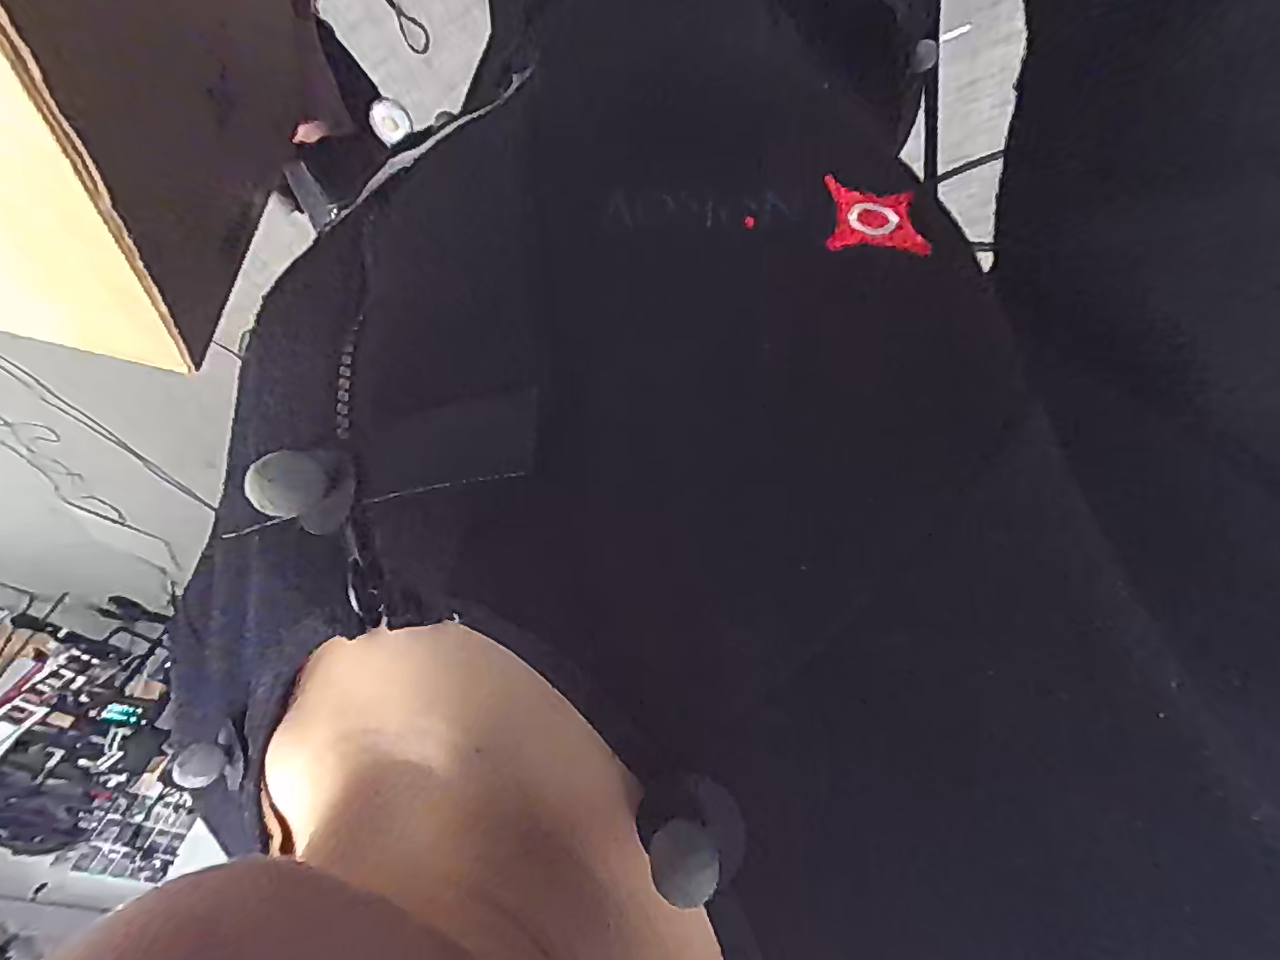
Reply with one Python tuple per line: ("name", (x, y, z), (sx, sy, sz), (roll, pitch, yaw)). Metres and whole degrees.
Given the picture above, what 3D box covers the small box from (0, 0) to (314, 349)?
("small box", (-0.226, -0.174, 0.172), (0.176, 0.168, 0.179), (13, 157, -23))
